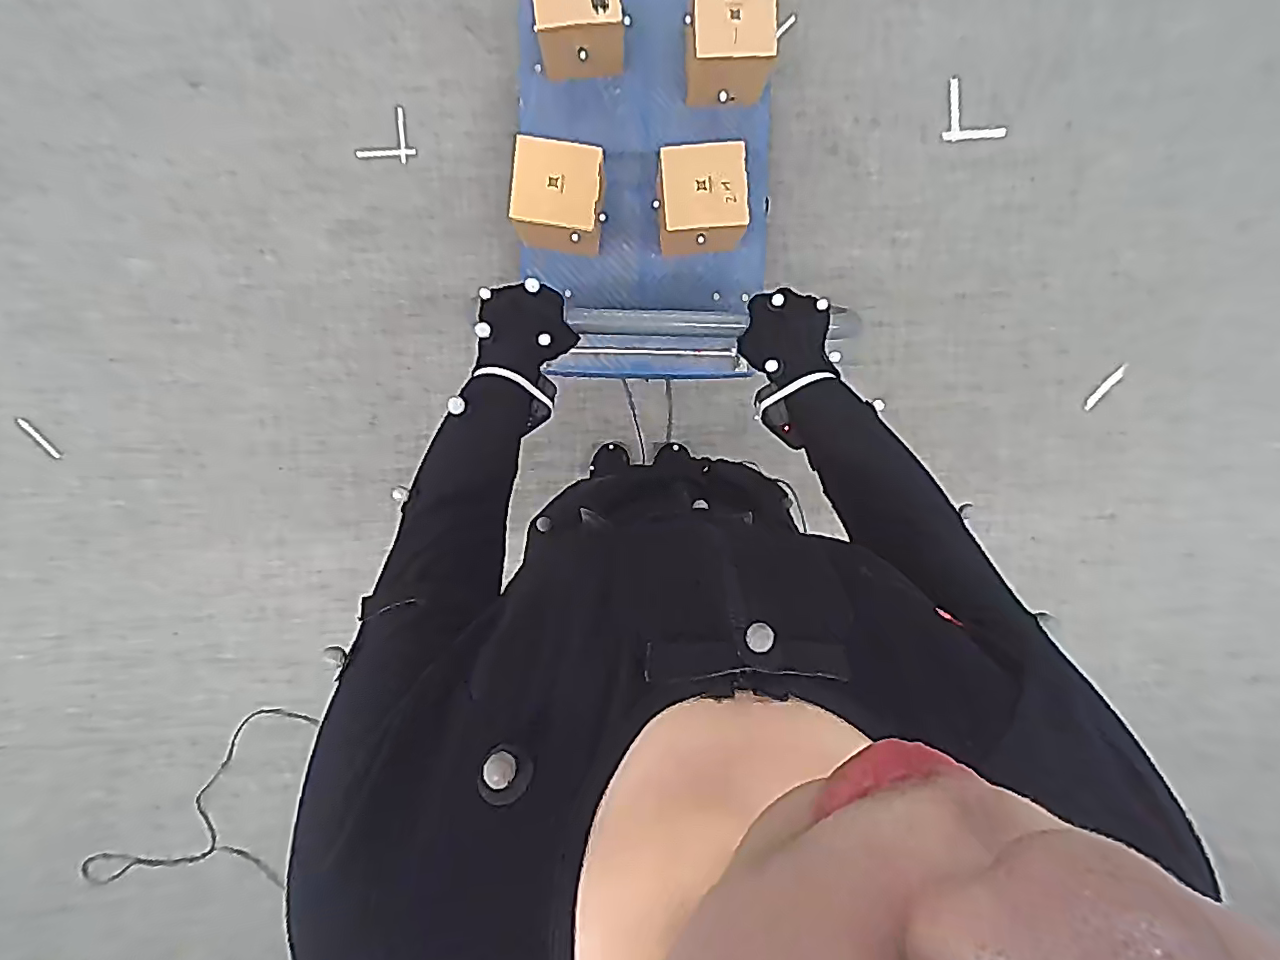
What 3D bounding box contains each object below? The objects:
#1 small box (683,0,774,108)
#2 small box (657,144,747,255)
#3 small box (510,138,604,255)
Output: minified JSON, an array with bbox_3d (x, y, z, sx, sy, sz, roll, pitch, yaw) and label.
[{"bbox_3d":[0.184,-0.943,1.164,0.168,0.176,0.179,-2,96,-1],"label":"small box"},{"bbox_3d":[0.129,-0.609,1.193,0.179,0.176,0.168,-5,96,-1],"label":"small box"},{"bbox_3d":[-0.175,-0.610,1.185,0.179,0.176,0.168,6,94,-4],"label":"small box"}]
